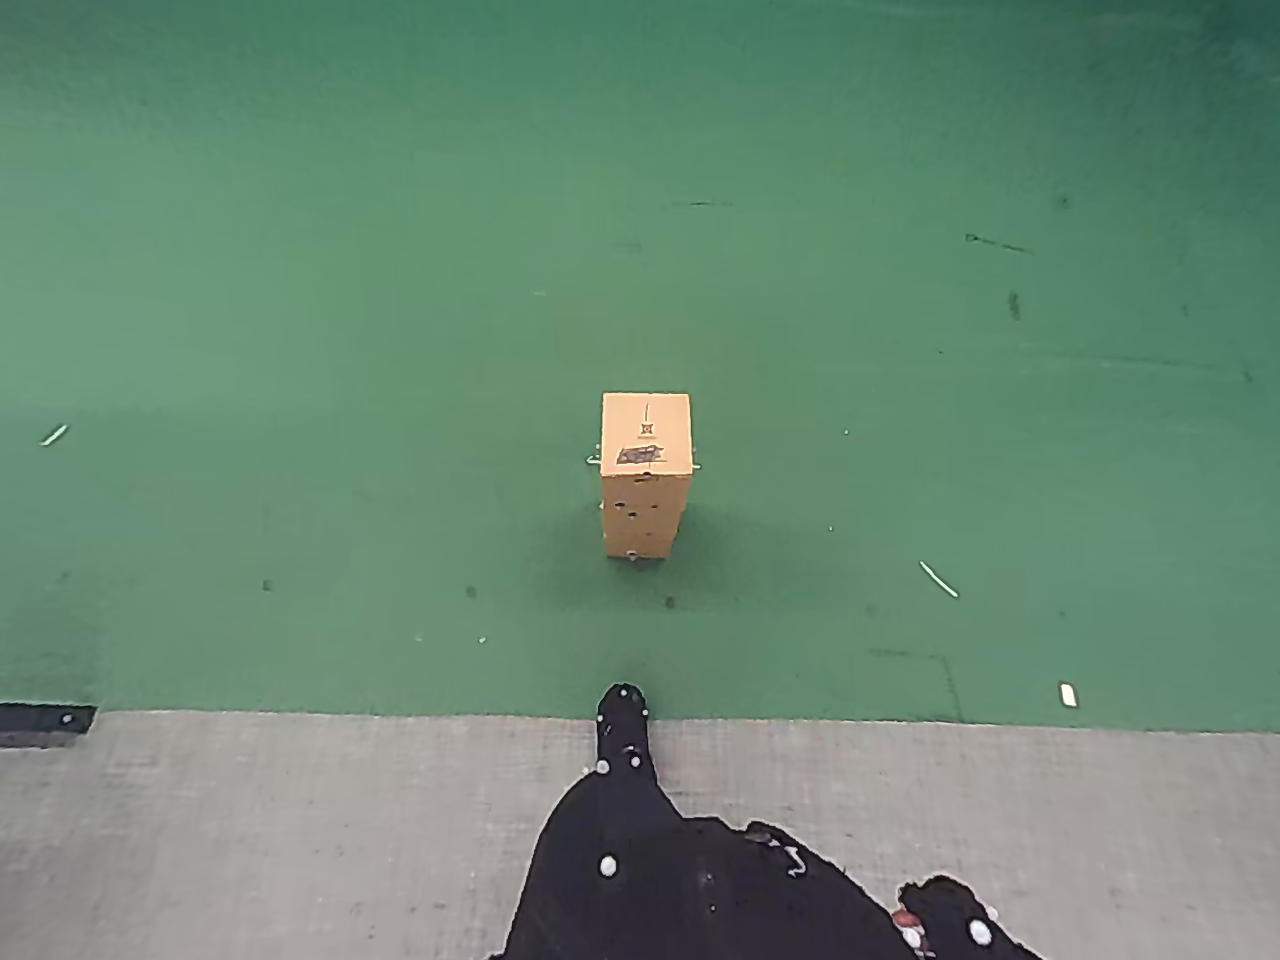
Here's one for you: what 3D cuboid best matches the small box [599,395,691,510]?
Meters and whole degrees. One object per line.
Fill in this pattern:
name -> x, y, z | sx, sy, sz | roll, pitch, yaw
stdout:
small box -> 0.010, -0.049, 1.062 | 0.168, 0.176, 0.179 | 1, 64, -1

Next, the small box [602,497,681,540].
small box -> 0.004, 0.022, 1.211 | 0.168, 0.176, 0.179 | 2, 64, 0

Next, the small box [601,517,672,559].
small box -> -0.005, 0.084, 1.342 | 0.168, 0.176, 0.179 | 2, 65, 1
